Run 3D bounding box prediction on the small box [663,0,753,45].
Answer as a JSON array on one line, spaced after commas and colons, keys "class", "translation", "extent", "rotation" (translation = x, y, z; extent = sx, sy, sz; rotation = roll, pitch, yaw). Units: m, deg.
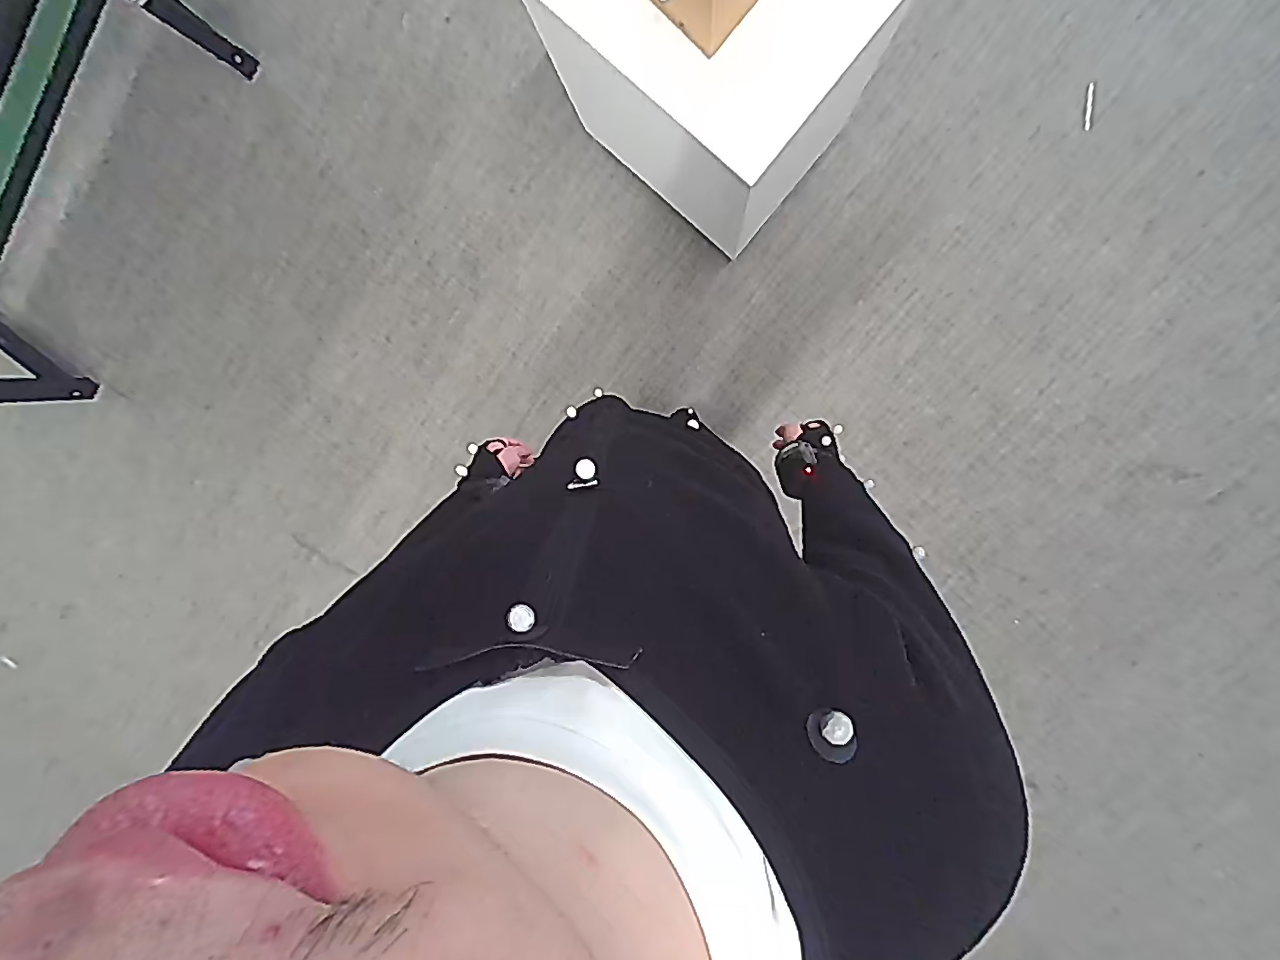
[{"class": "small box", "translation": [0.100, -0.759, 0.734], "extent": [0.168, 0.176, 0.179], "rotation": [41, 102, -2]}]
